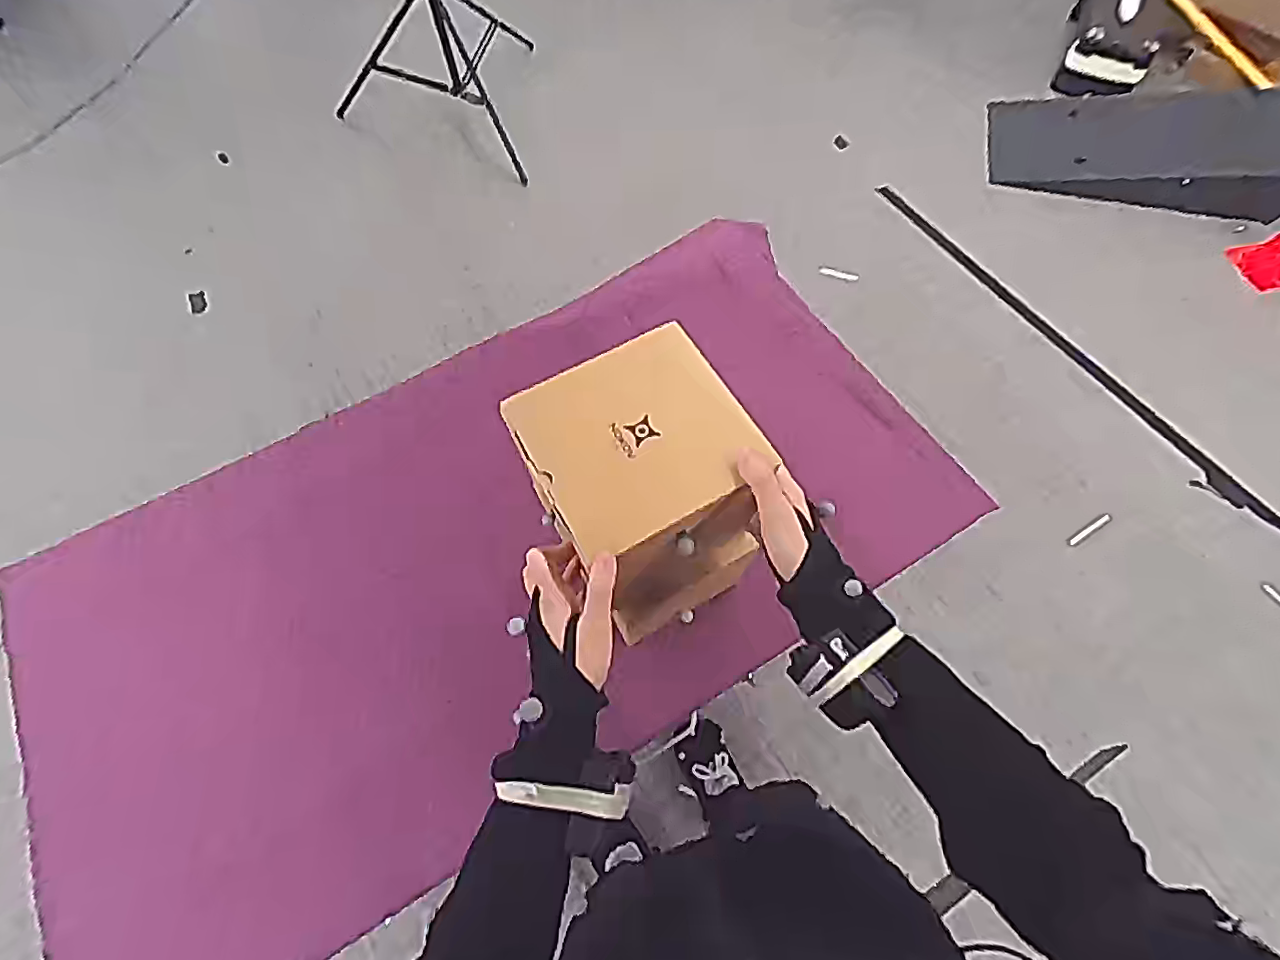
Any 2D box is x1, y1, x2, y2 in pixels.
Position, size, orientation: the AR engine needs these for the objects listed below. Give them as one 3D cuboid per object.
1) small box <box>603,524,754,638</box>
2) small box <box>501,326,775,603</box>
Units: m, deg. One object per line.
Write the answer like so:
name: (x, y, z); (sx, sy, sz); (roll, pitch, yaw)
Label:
small box: (0.010, 0.070, 0.657); (0.168, 0.176, 0.179); (-27, 69, -11)
small box: (-0.004, -0.005, 0.514); (0.179, 0.176, 0.168); (-28, 69, -10)
